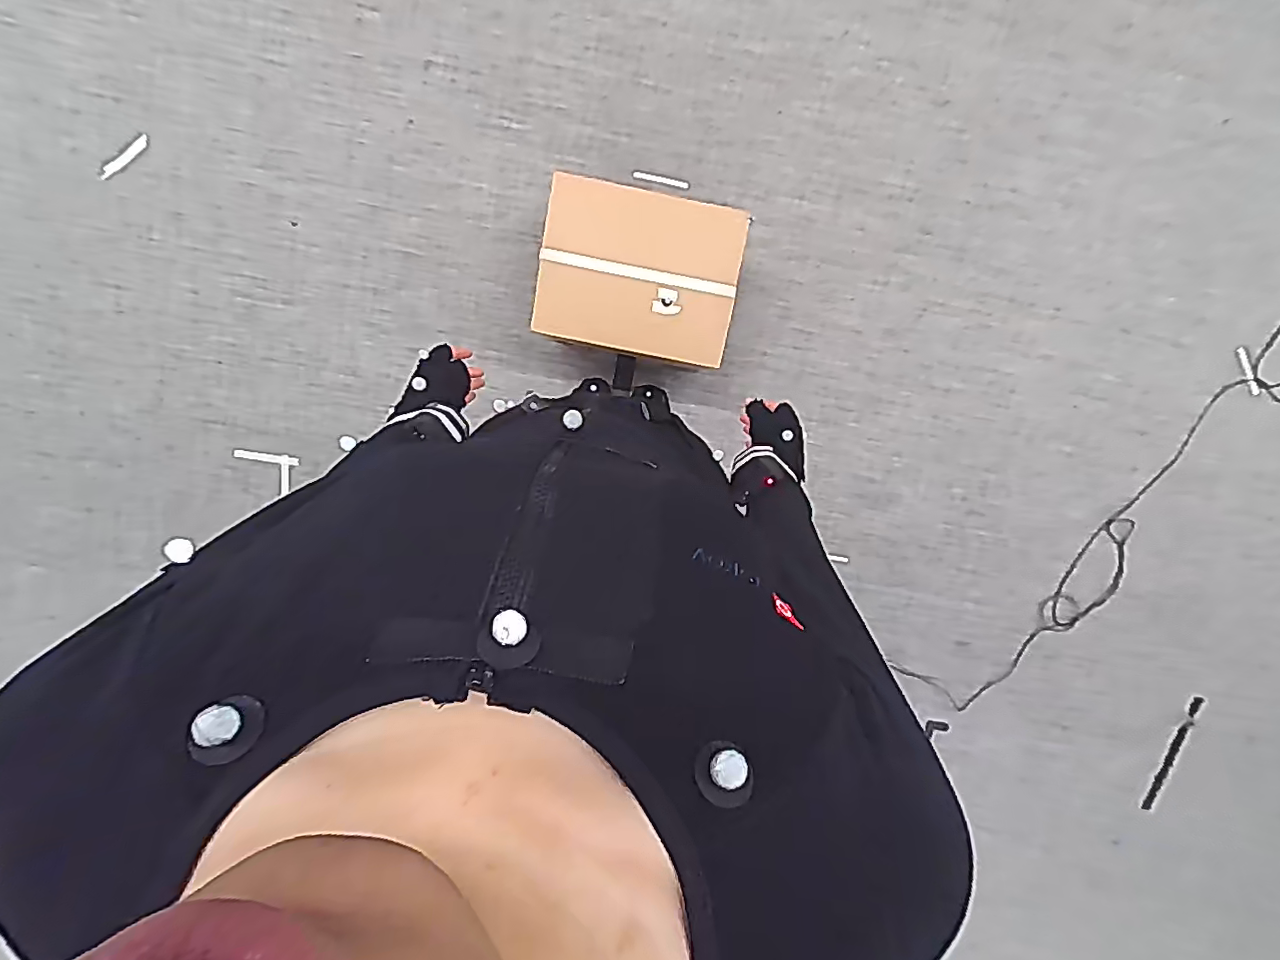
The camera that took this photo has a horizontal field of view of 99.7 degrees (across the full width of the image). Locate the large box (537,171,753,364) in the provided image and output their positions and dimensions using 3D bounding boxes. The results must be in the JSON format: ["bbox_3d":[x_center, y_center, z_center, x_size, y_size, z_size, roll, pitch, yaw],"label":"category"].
[{"bbox_3d":[0.001,-0.458,1.244,0.408,0.320,0.320,10,102,-3],"label":"large box"}]
